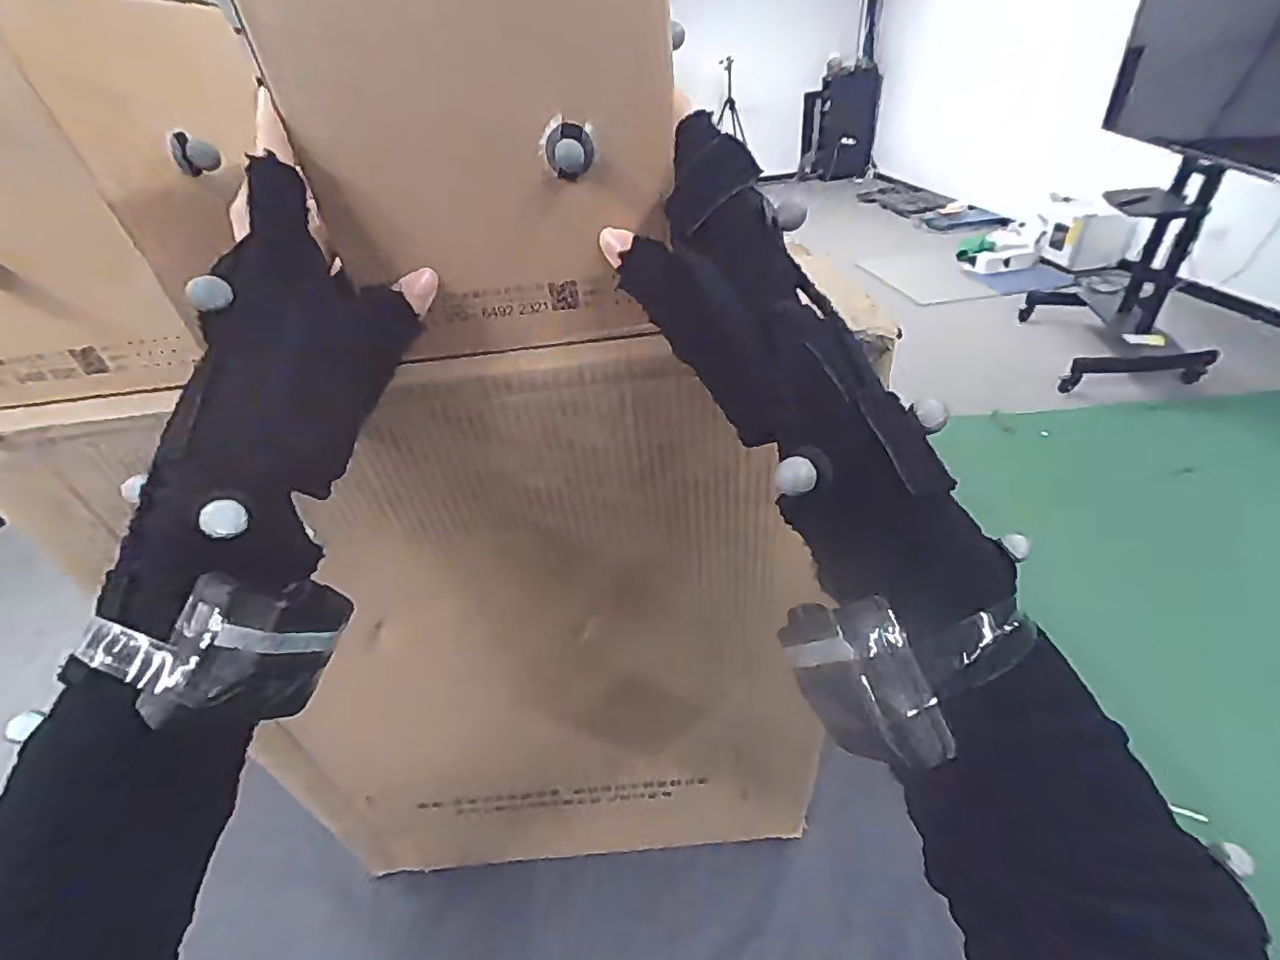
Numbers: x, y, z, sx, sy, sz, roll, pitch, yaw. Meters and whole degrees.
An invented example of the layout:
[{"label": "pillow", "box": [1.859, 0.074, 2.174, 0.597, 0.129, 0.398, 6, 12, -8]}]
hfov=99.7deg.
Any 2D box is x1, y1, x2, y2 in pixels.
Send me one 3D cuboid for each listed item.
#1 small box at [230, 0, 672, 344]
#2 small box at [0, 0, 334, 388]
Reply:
[{"label": "small box", "box": [-0.071, -0.185, 0.310, 0.168, 0.176, 0.179, -4, 37, 0]}, {"label": "small box", "box": [-0.319, -0.164, 0.318, 0.168, 0.176, 0.179, -6, 39, 2]}]
